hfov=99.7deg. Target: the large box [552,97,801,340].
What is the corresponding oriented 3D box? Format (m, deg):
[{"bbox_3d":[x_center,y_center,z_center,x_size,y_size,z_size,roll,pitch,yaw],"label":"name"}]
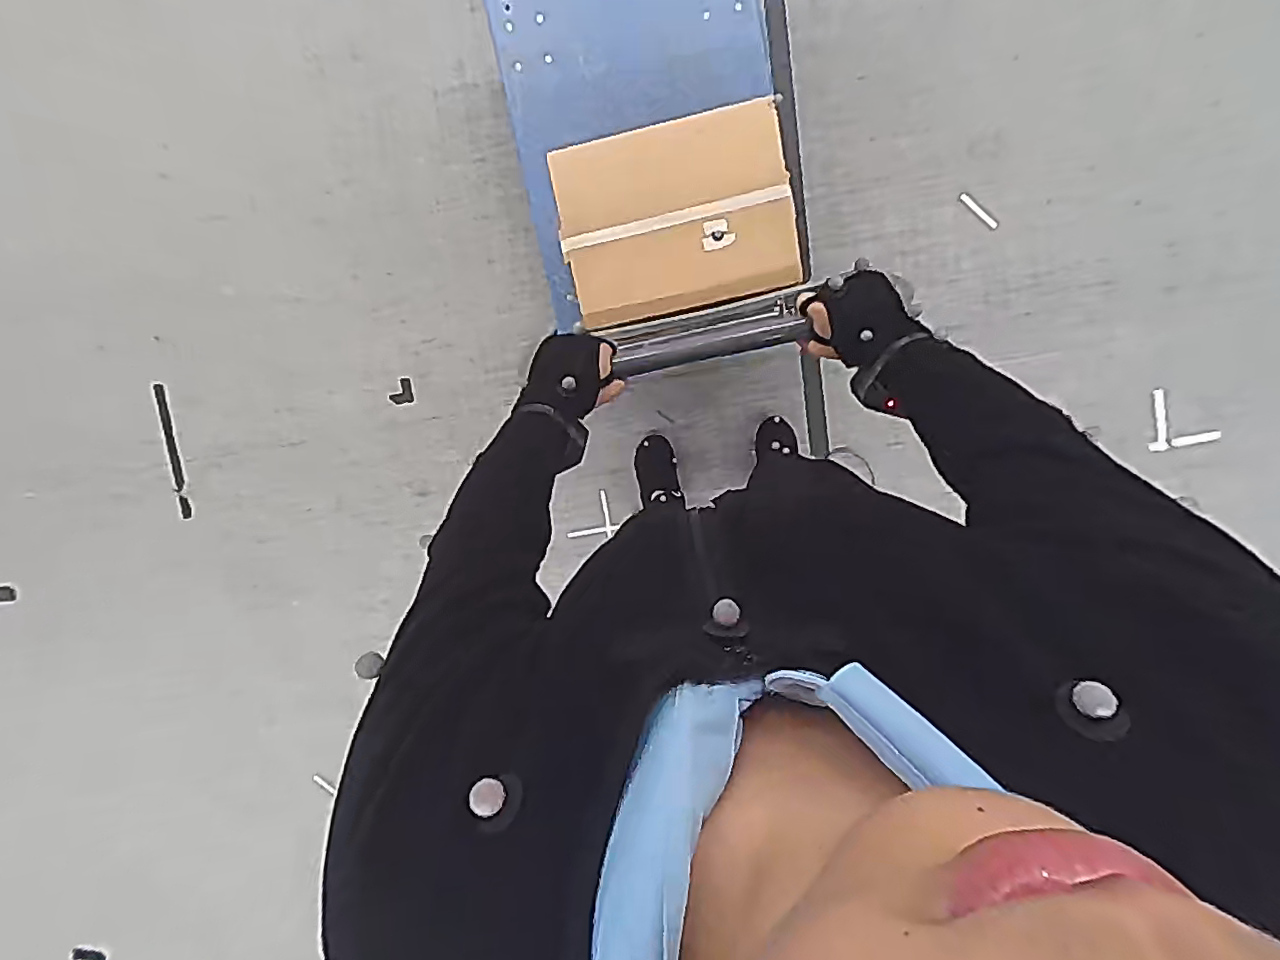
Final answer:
[{"bbox_3d":[0.072,-0.497,1.117,0.408,0.320,0.320,-12,101,4],"label":"large box"}]
